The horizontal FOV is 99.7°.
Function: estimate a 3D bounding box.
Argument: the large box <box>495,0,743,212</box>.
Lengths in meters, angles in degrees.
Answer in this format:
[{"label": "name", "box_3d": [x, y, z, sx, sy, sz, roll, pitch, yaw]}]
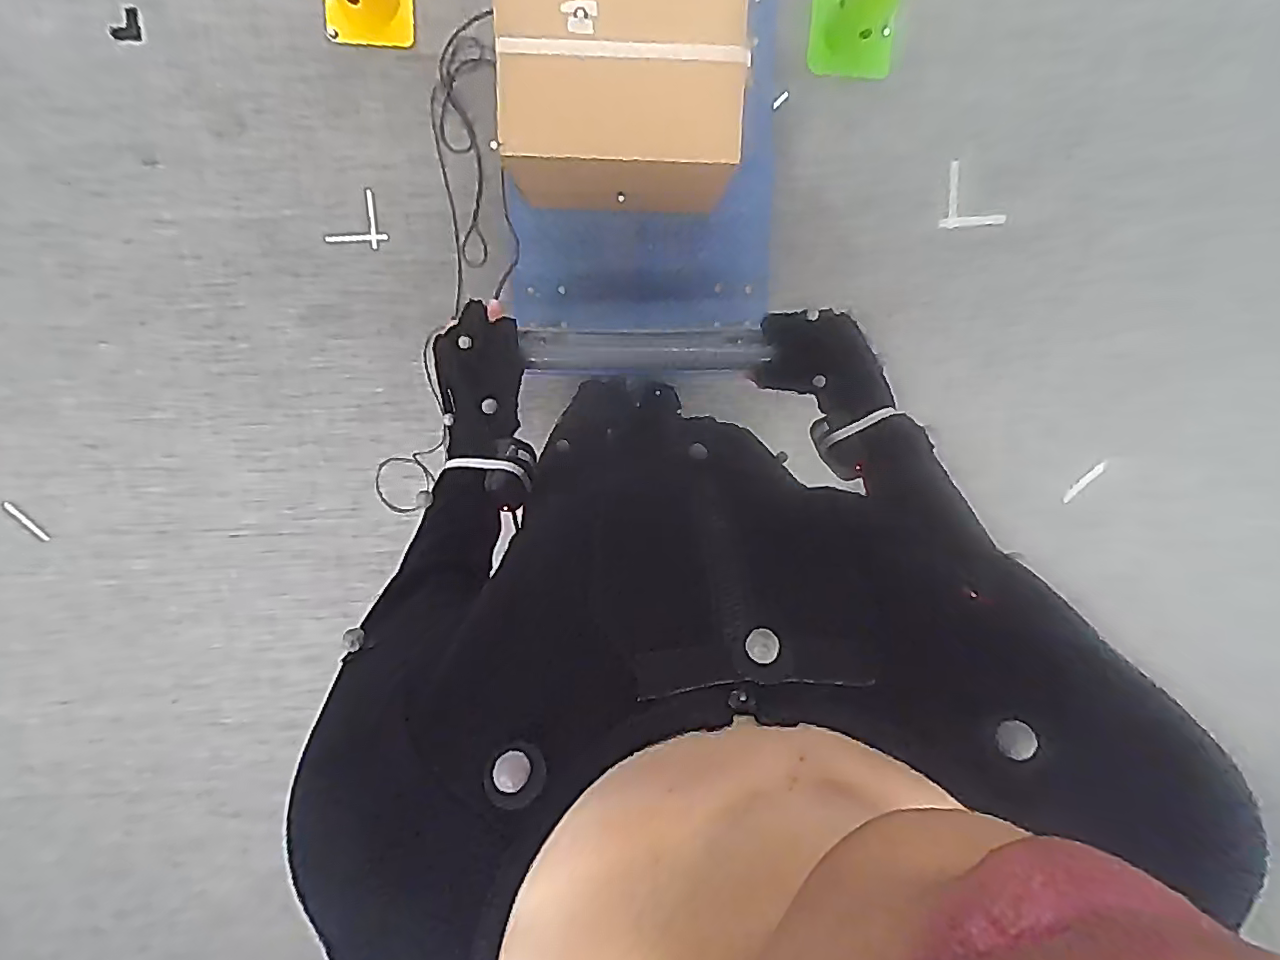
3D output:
[{"label": "large box", "box_3d": [-0.034, -0.713, 1.023, 0.408, 0.320, 0.320, 1, 101, -1]}]

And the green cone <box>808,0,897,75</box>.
[{"label": "green cone", "box_3d": [0.512, -1.048, 1.118, 0.202, 0.368, 0.200, 2, 101, -3]}]
